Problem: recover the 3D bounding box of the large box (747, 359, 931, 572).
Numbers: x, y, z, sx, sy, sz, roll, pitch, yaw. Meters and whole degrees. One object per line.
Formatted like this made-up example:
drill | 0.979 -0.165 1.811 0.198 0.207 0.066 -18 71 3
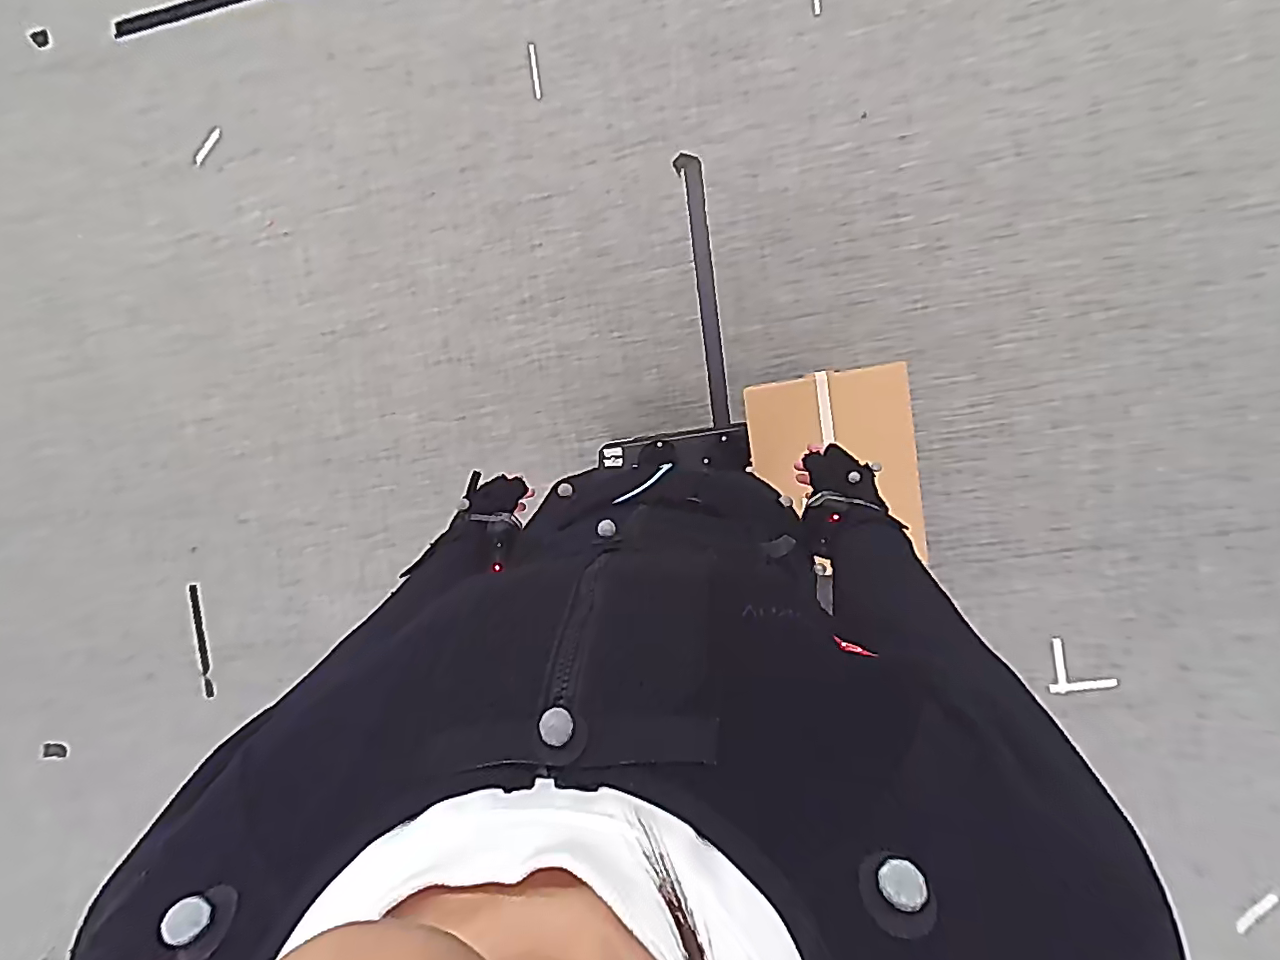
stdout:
large box | 0.433 -0.038 1.231 0.320 0.320 0.408 -7 95 16
